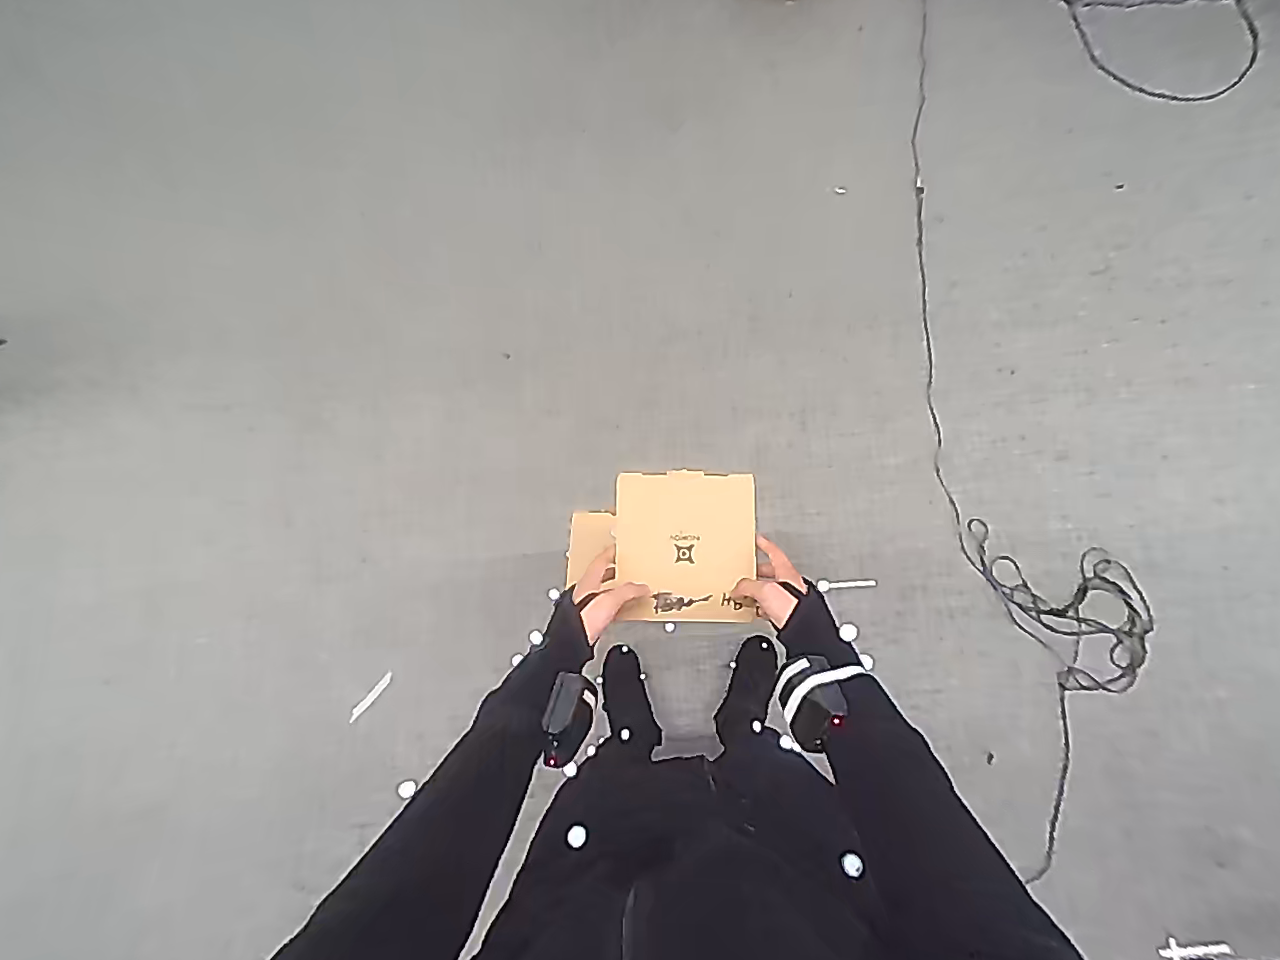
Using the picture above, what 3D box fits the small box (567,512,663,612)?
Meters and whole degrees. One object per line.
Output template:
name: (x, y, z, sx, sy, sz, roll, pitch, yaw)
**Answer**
small box: (-0.043, 0.170, 1.092, 0.168, 0.176, 0.179, 3, 77, 6)
